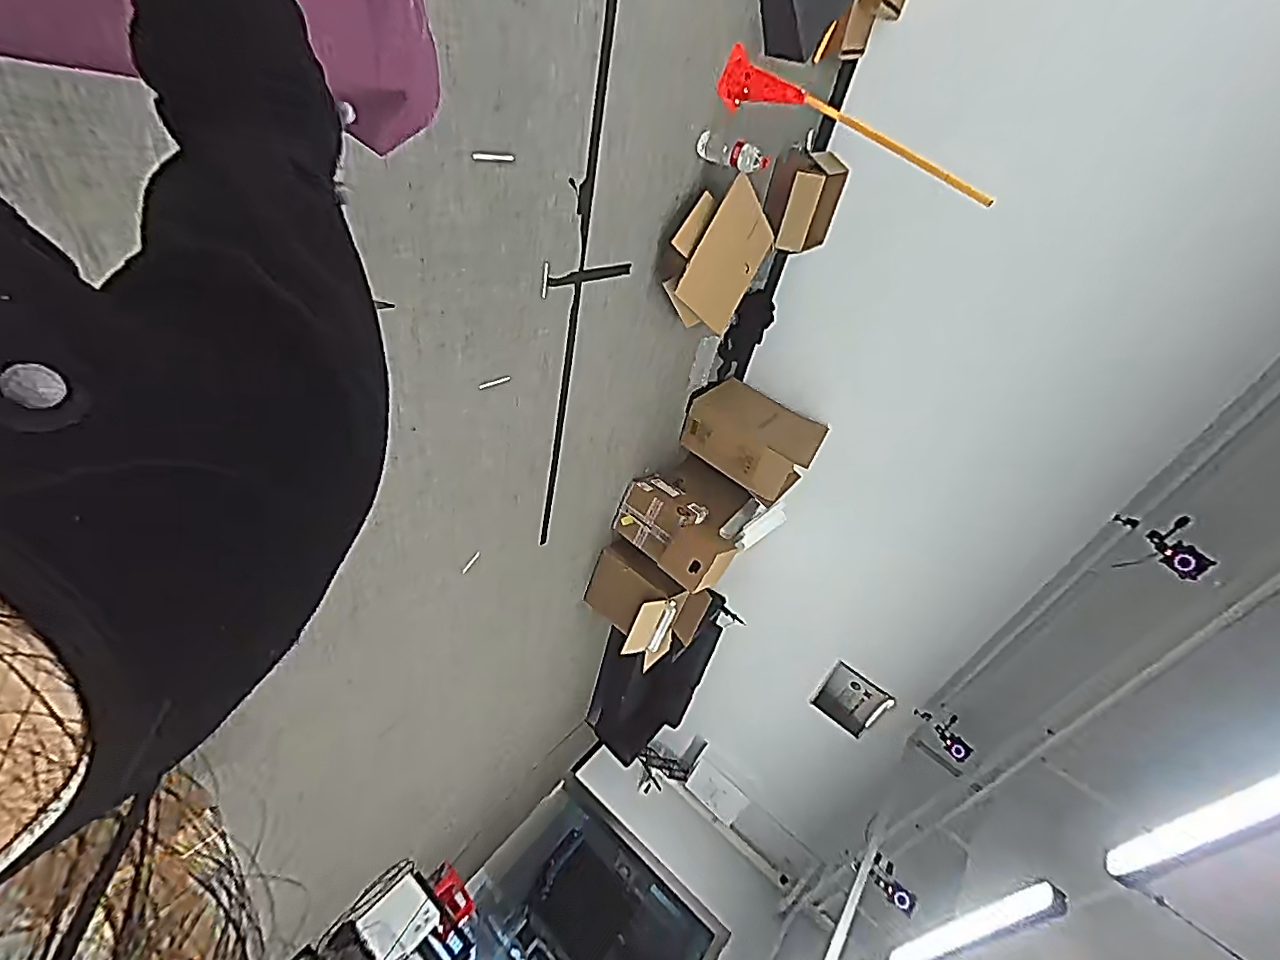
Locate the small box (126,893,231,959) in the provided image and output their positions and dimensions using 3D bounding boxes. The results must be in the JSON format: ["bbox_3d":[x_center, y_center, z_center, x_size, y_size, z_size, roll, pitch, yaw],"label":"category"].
[{"bbox_3d":[-1.346,1.364,1.580,0.168,0.176,0.179,-33,146,-44],"label":"small box"}]

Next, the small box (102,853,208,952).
[{"bbox_3d":[-1.475,1.290,1.646,0.179,0.176,0.168,-32,146,-42],"label":"small box"}]
